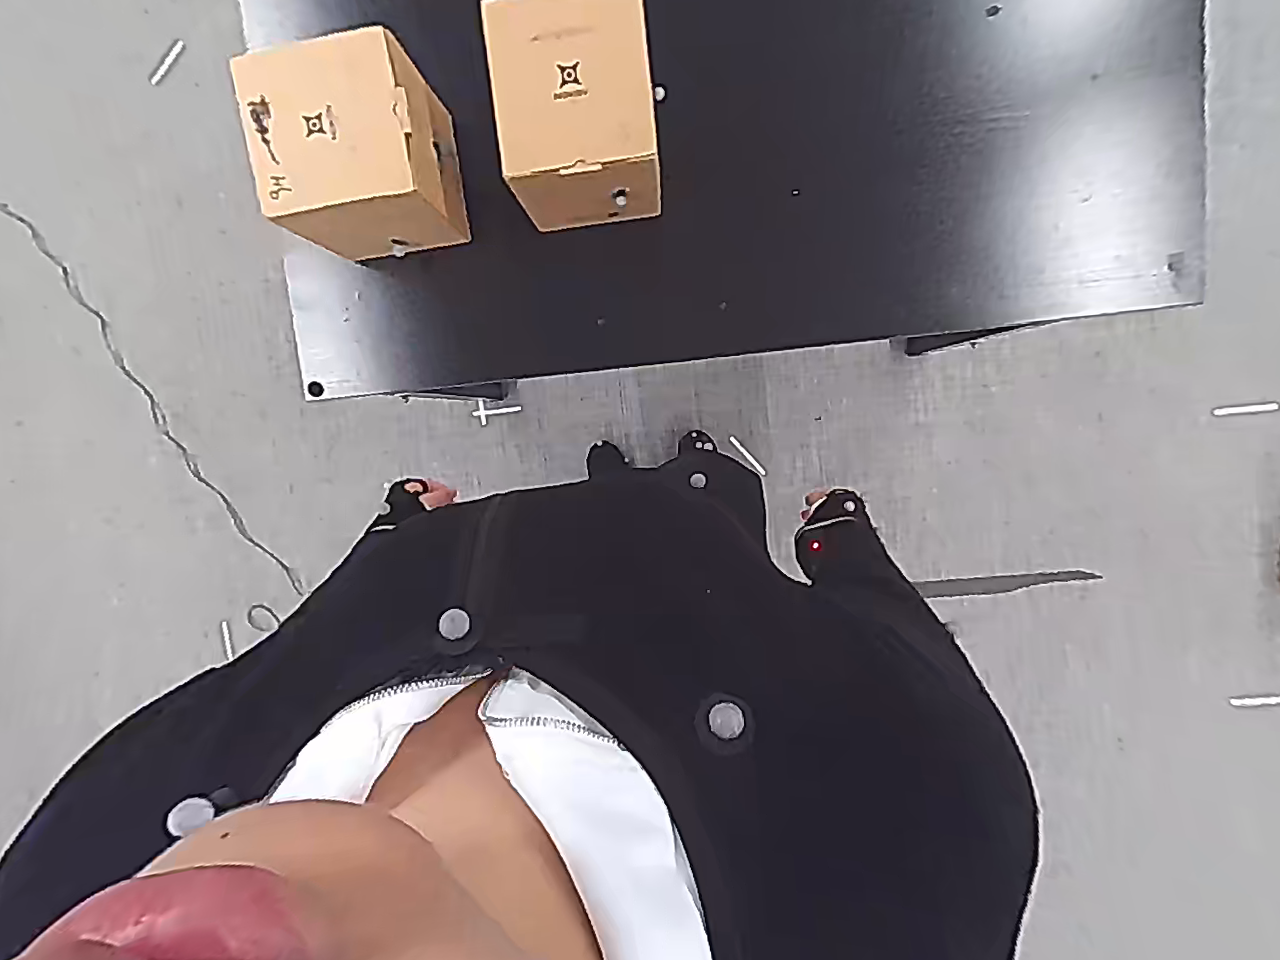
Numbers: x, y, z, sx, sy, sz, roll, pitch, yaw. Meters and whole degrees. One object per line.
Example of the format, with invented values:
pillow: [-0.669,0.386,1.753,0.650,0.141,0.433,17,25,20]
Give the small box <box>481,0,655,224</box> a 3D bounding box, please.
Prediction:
small box: [-0.071,-0.420,0.637,0.168,0.176,0.179,-7,95,2]

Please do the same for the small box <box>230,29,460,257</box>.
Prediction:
small box: [-0.330,-0.384,0.649,0.179,0.176,0.168,-8,96,2]
